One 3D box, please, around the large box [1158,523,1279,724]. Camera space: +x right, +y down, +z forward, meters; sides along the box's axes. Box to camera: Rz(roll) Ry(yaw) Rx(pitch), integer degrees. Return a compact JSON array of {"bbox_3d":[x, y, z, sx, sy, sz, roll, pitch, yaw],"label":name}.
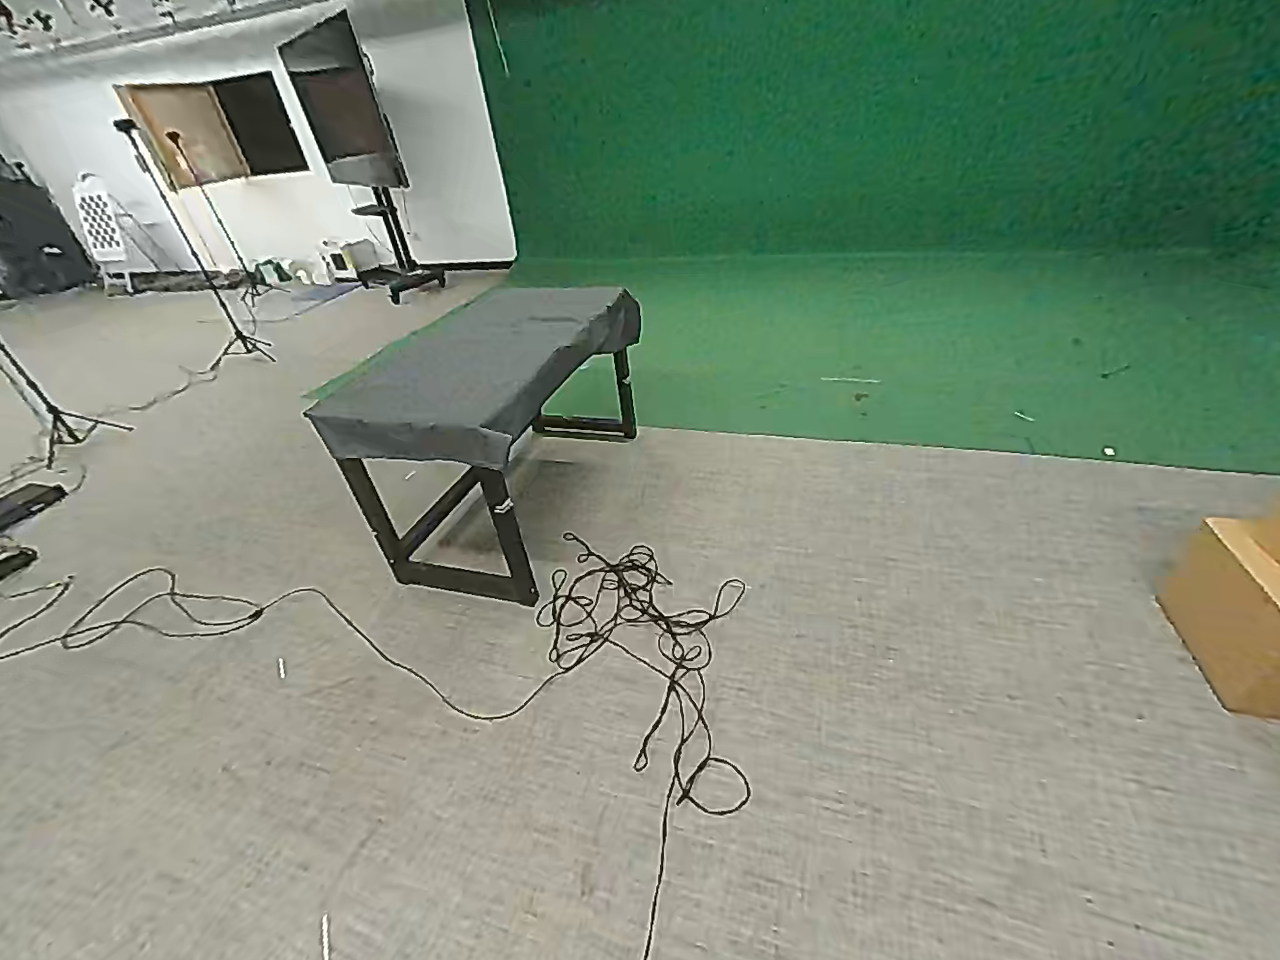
[{"bbox_3d":[1.658,0.364,1.374,0.320,0.320,0.408,3,37,16],"label":"large box"}]
